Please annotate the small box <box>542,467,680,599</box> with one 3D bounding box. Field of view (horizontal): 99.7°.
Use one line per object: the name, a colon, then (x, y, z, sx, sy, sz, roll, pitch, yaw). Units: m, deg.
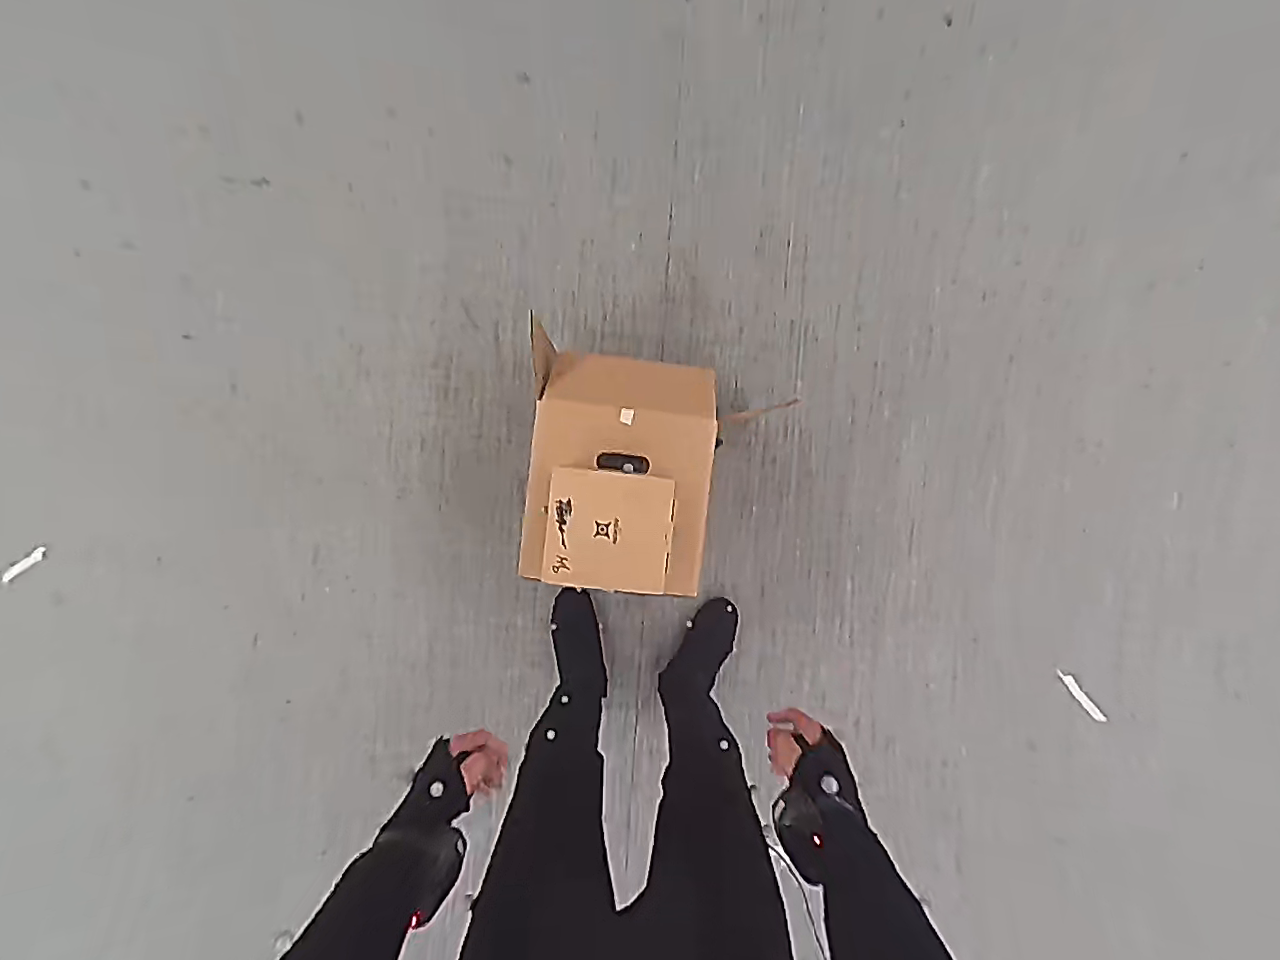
small box: (-0.041, 0.071, 0.822, 0.179, 0.176, 0.168, 6, 92, 0)
